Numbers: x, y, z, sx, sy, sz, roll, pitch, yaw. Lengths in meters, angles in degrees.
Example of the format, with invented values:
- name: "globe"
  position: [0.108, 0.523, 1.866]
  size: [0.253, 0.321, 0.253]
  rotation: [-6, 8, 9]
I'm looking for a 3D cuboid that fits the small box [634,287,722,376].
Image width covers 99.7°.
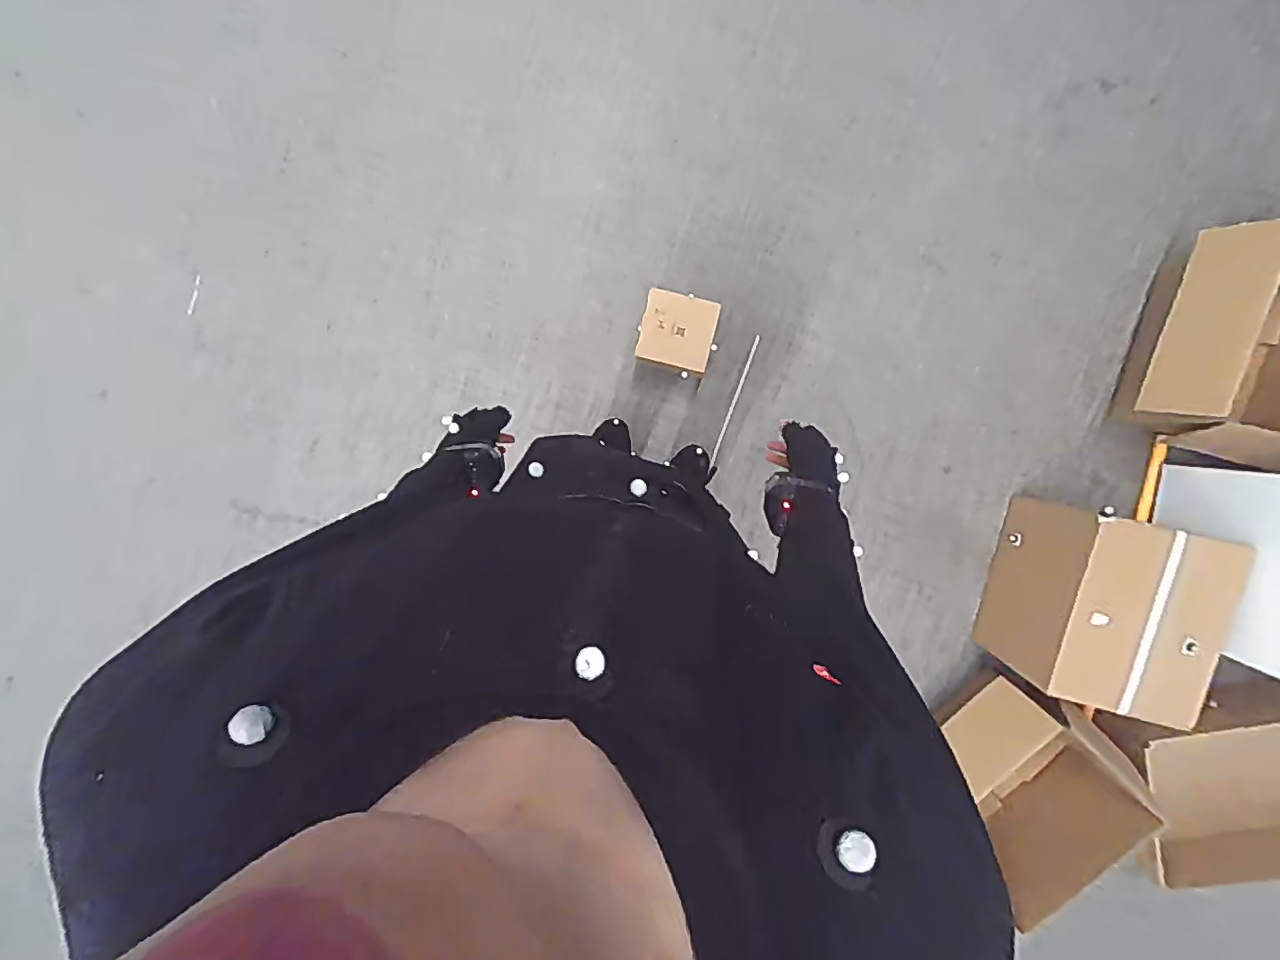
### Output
- name: "small box"
  position: [0.093, -0.361, 1.348]
  size: [0.179, 0.176, 0.168]
  rotation: [15, 96, 2]
